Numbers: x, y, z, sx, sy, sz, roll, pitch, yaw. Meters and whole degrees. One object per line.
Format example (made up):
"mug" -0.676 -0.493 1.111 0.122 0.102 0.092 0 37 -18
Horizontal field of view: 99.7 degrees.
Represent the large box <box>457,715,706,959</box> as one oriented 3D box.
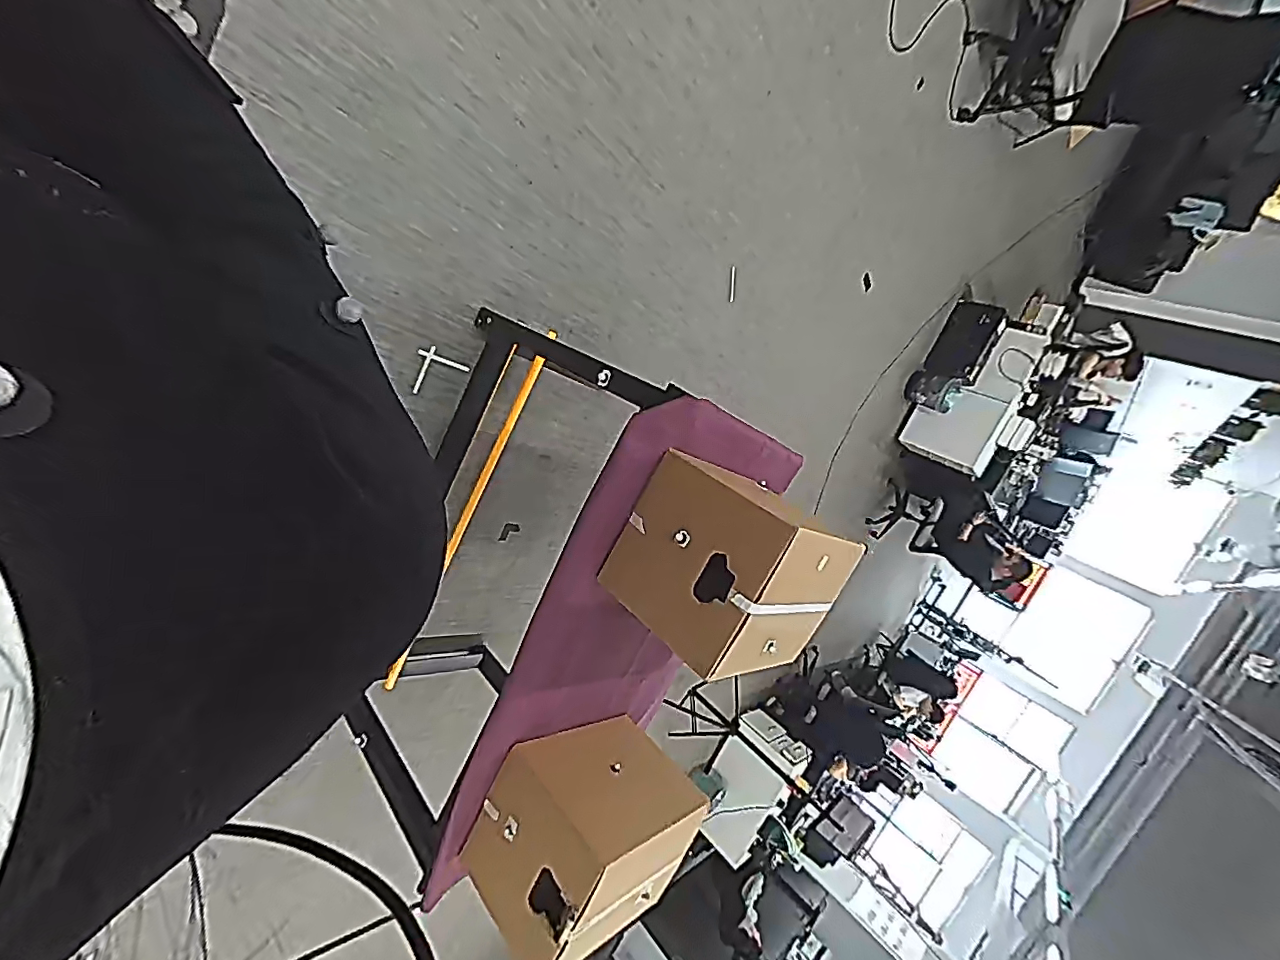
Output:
"large box" -0.126 0.793 1.229 0.408 0.320 0.320 16 104 -53
